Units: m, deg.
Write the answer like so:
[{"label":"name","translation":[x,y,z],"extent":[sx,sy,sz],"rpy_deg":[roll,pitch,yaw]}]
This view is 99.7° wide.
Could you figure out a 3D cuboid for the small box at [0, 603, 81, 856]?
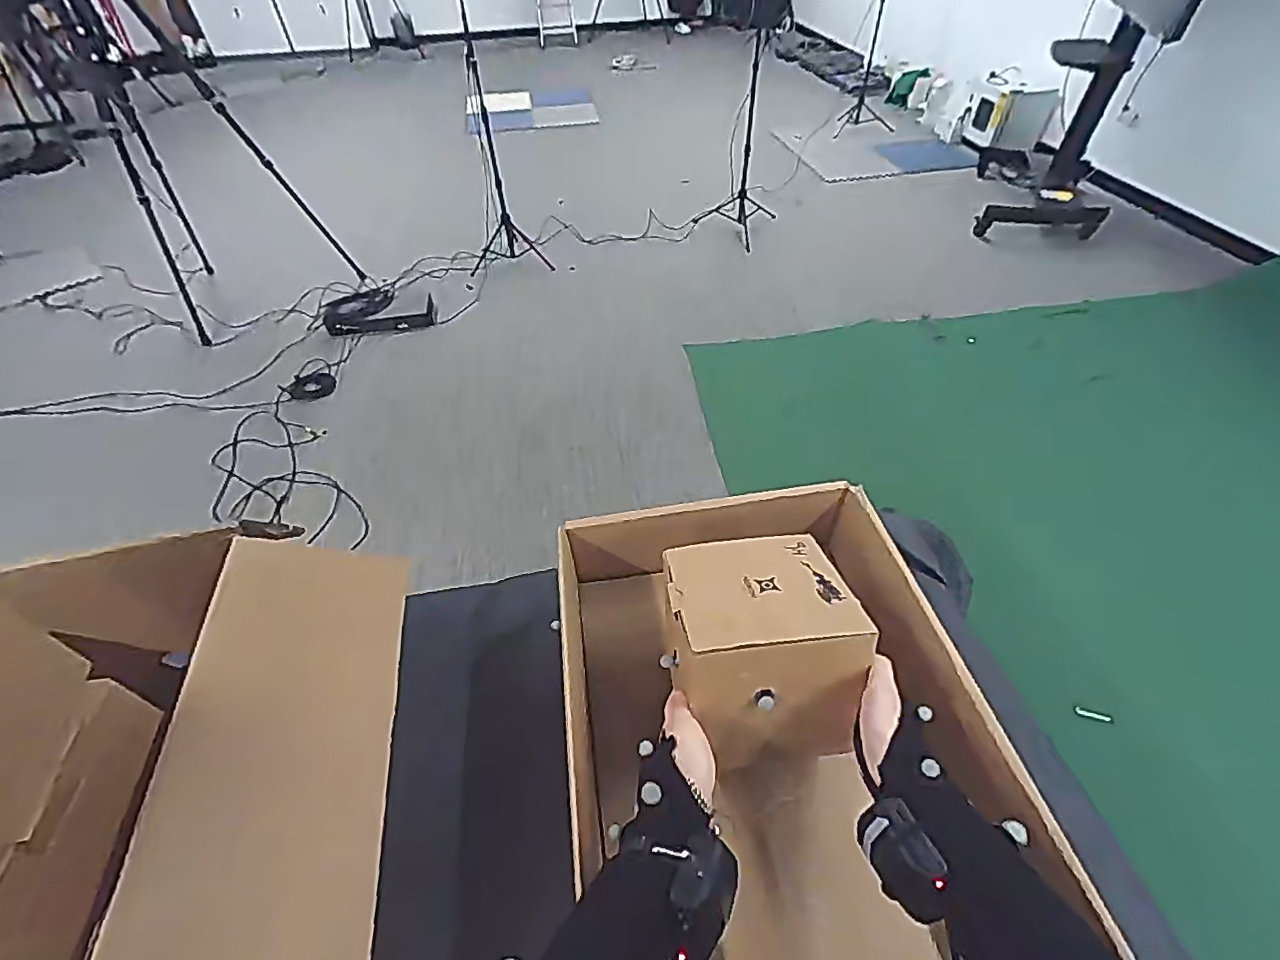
[{"label":"small box","translation":[-0.460,0.150,0.276],"extent":[0.168,0.176,0.179],"rpy_deg":[-6,47,-10]}]

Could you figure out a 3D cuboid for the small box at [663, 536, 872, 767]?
[{"label":"small box","translation":[0.126,0.184,0.588],"extent":[0.179,0.176,0.168],"rpy_deg":[-6,28,-3]}]
